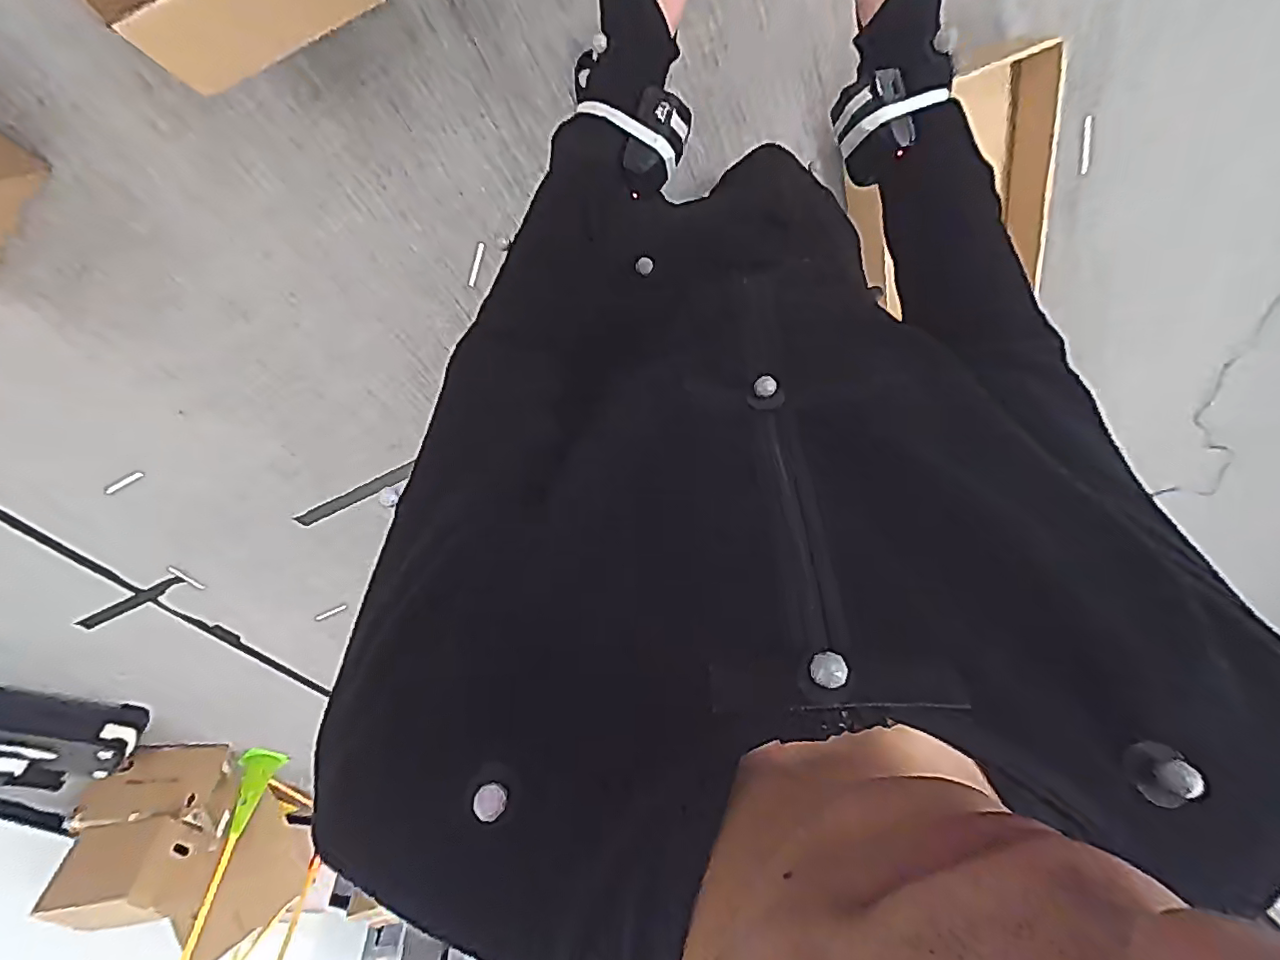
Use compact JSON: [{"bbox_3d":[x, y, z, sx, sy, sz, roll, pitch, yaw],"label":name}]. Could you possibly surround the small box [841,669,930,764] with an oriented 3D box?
[{"bbox_3d":[0.662,0.635,1.469,0.168,0.176,0.179,-20,128,9],"label":"small box"}]
